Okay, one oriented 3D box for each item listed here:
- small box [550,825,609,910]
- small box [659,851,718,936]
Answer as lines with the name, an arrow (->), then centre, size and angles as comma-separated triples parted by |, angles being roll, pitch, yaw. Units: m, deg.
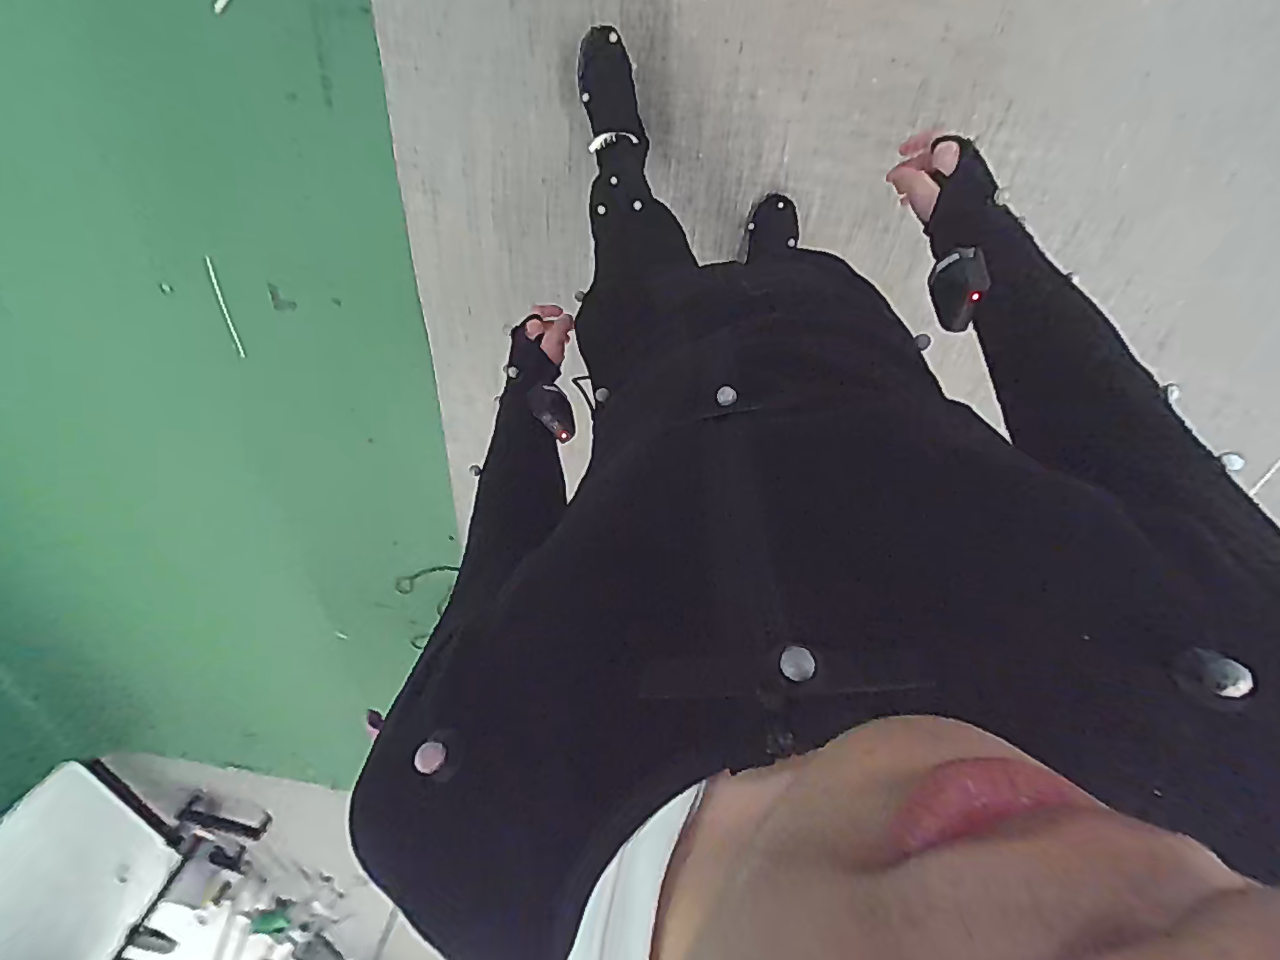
small box -> -0.199, 1.289, 1.801 | 0.168, 0.176, 0.179 | 7, 125, 3
small box -> 0.161, 1.366, 1.793 | 0.168, 0.176, 0.179 | 9, 125, 3
